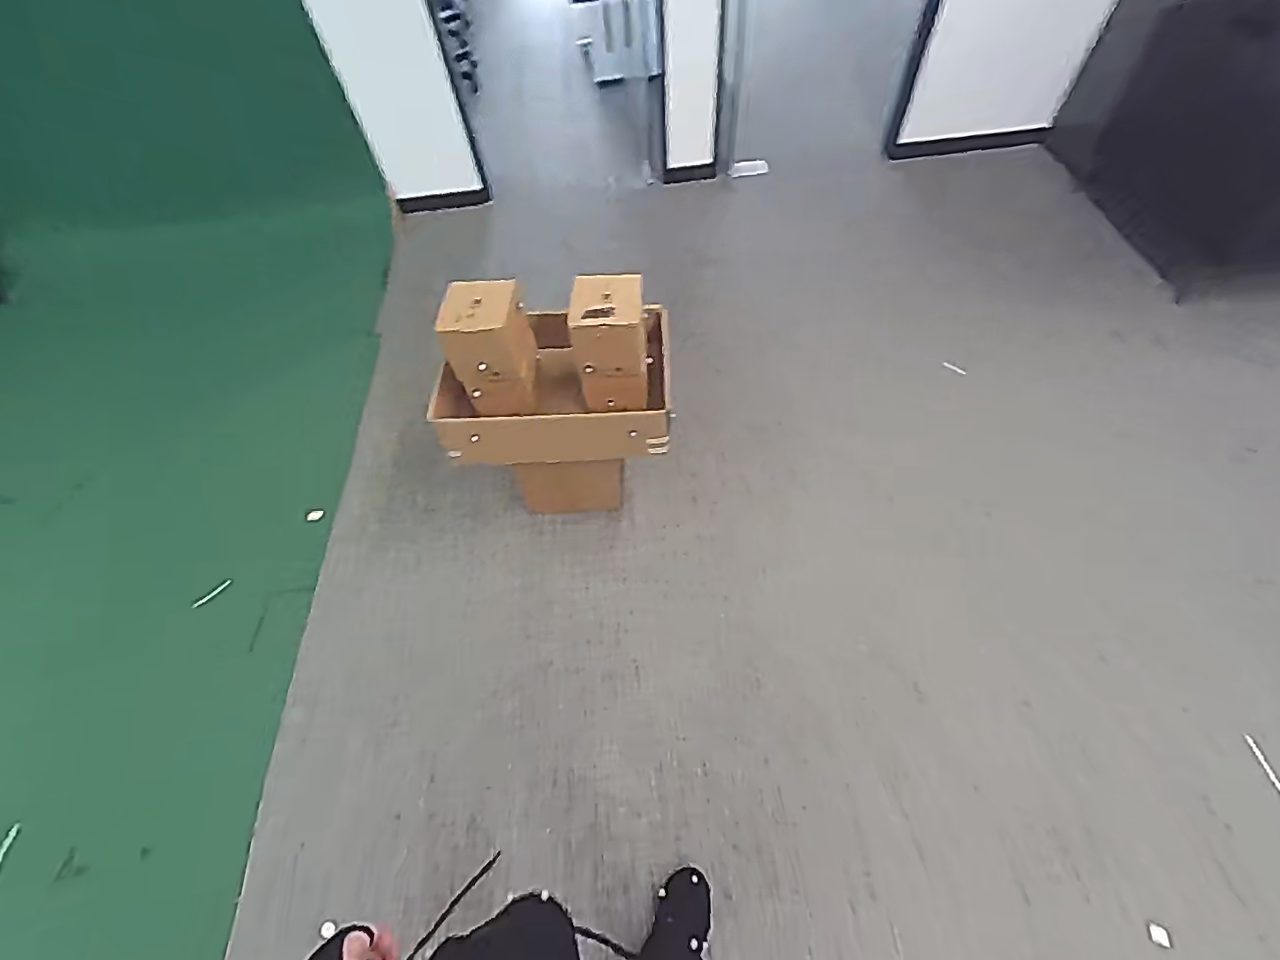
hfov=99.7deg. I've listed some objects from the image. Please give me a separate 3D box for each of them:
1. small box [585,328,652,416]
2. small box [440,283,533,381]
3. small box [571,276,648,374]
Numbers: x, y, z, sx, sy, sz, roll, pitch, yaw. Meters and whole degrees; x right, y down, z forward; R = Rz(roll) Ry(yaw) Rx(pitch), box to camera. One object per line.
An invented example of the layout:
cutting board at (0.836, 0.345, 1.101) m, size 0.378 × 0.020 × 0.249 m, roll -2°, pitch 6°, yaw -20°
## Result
small box at (-0.054, -0.295, 1.475) m, size 0.168 × 0.176 × 0.179 m, roll -2°, pitch 59°, yaw 3°
small box at (-0.373, -0.368, 1.351) m, size 0.168 × 0.176 × 0.179 m, roll 0°, pitch 58°, yaw 5°
small box at (-0.067, -0.376, 1.333) m, size 0.168 × 0.176 × 0.179 m, roll 0°, pitch 58°, yaw 4°
